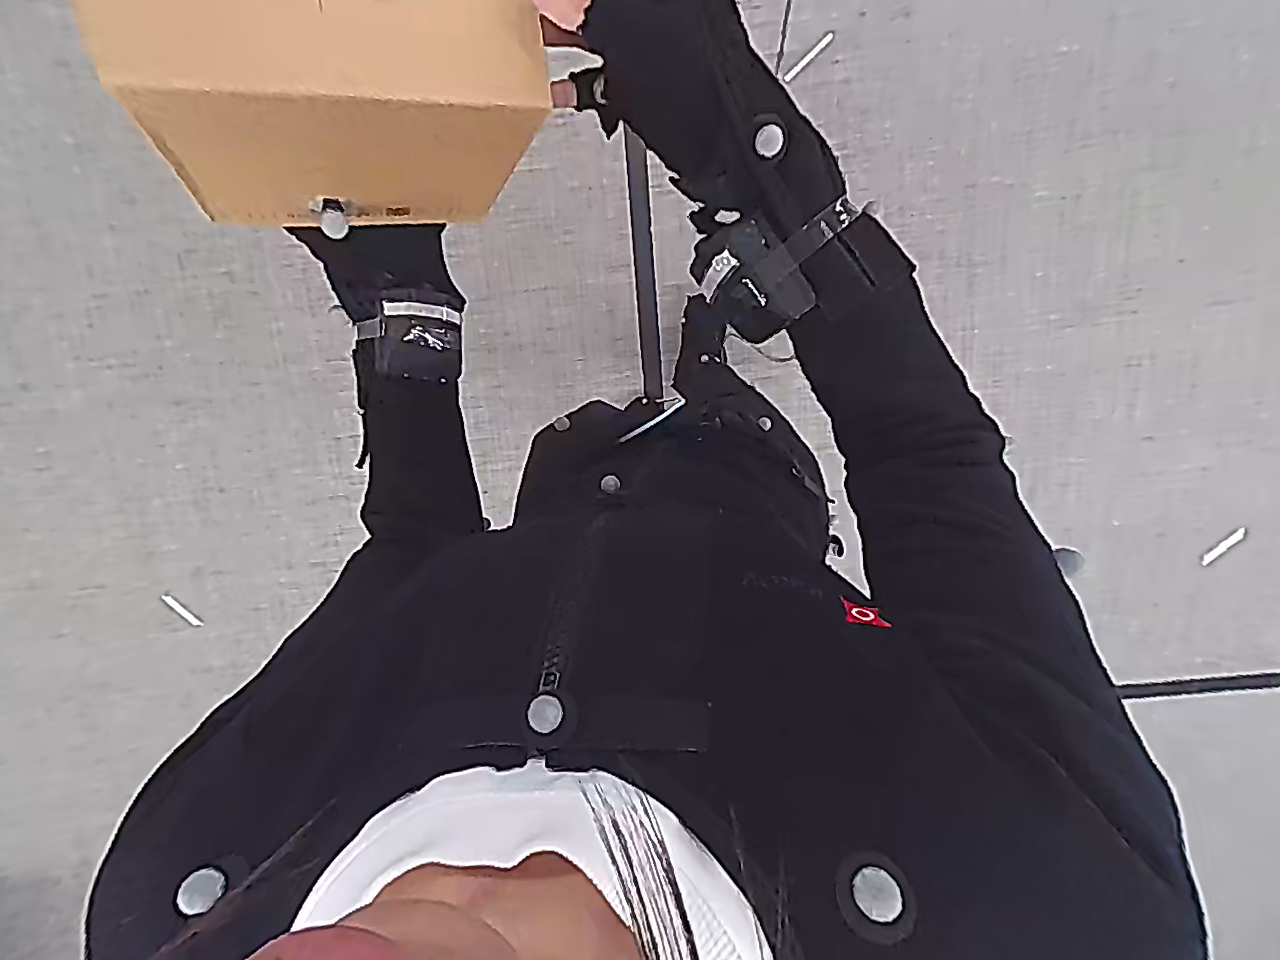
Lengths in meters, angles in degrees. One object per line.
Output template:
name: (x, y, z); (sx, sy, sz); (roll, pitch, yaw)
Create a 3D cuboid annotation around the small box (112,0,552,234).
small box: (-0.164, -0.250, 0.290); (0.168, 0.176, 0.179); (-15, 103, -24)
